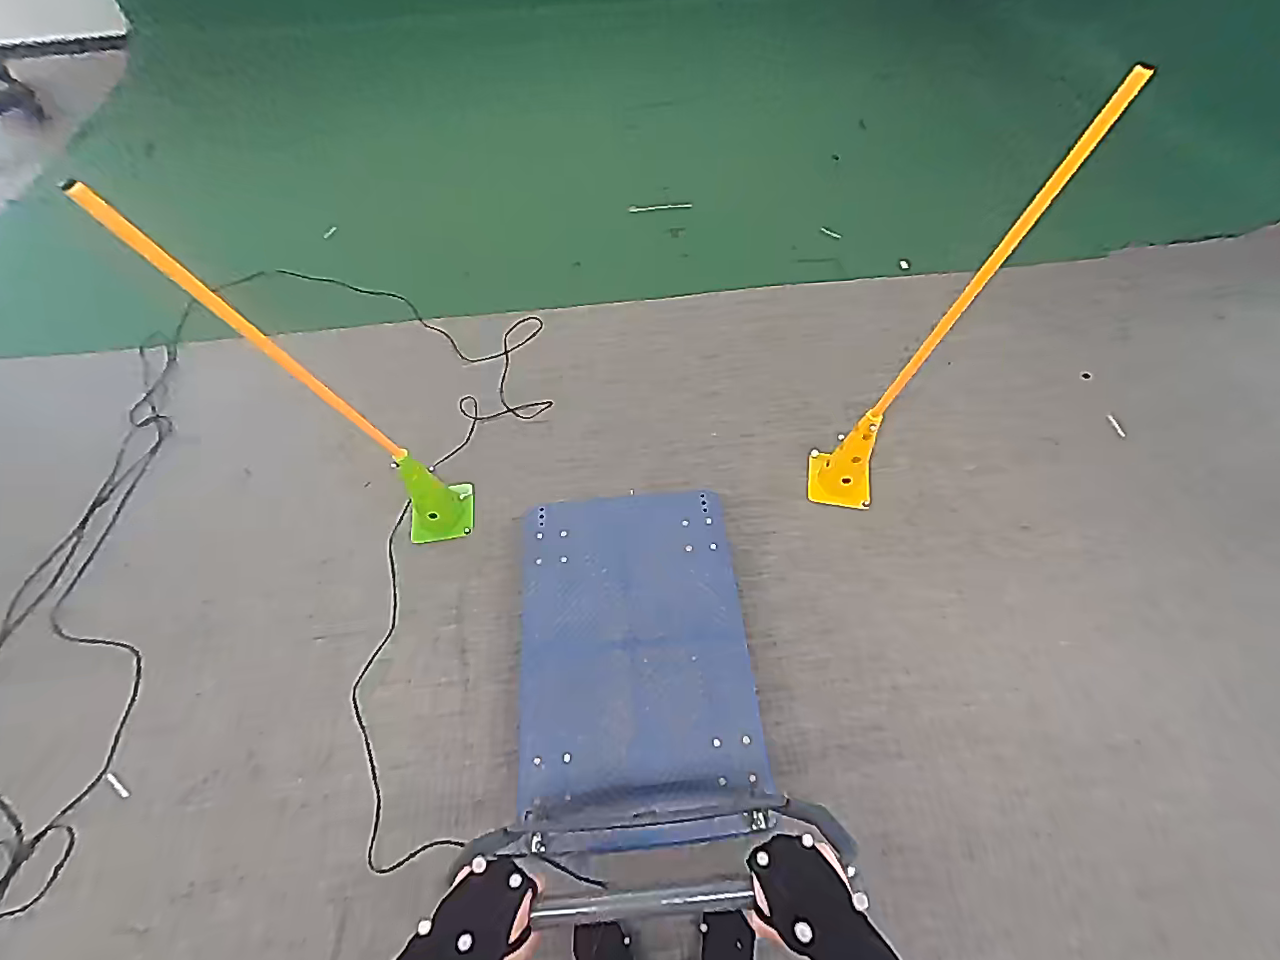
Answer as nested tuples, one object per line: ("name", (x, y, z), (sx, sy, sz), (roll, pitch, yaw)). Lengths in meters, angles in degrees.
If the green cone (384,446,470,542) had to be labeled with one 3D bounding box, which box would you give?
("green cone", (-0.669, 0.011, 1.635), (0.202, 0.368, 0.200), (-10, 58, -3))
